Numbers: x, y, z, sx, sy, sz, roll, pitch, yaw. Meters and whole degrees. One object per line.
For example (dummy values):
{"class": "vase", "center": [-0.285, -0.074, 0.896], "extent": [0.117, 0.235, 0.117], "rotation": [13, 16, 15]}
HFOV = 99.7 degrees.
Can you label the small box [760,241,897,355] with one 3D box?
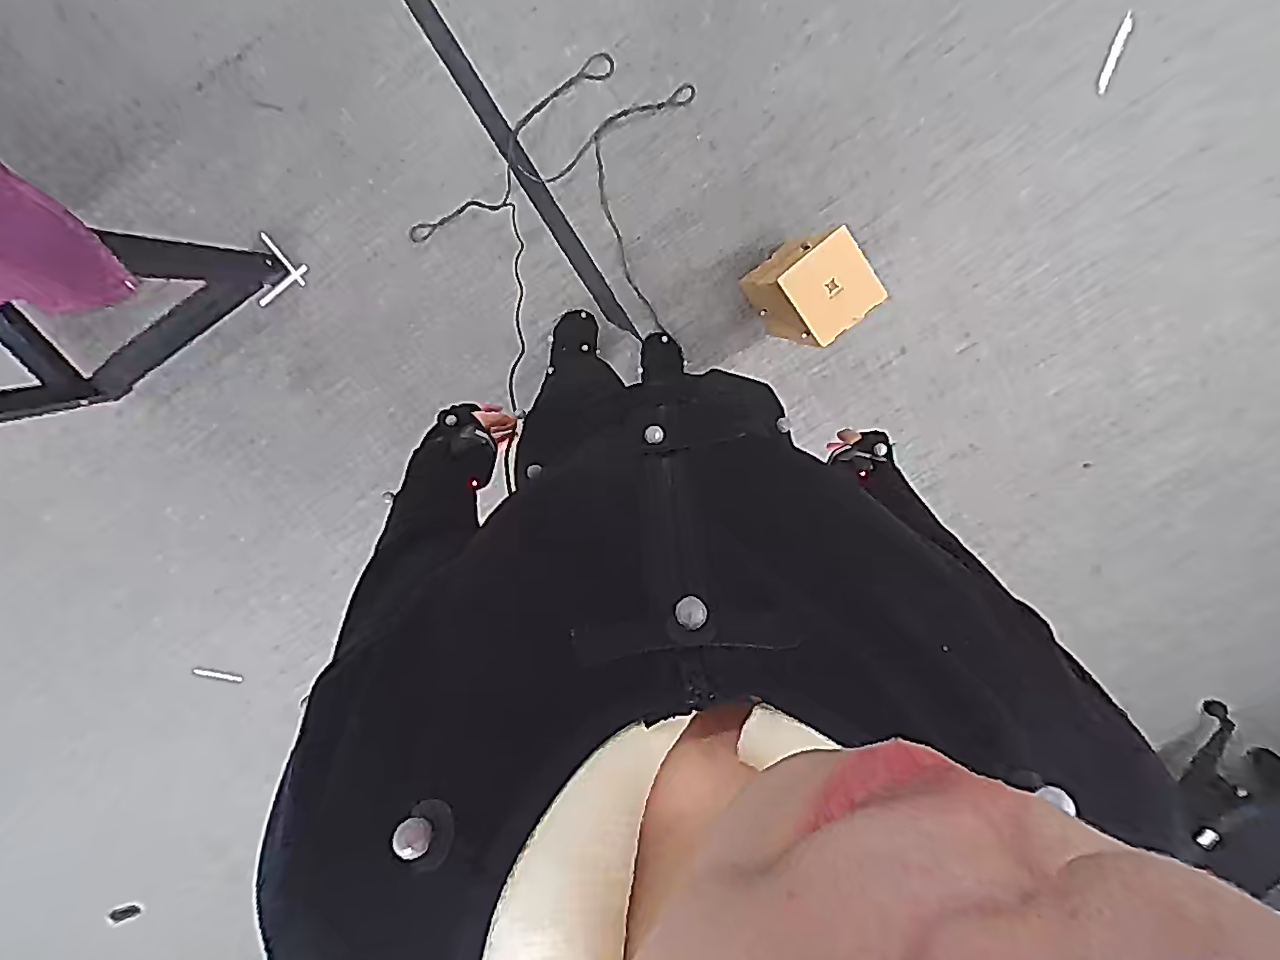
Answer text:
{"class": "small box", "center": [0.393, -0.377, 1.128], "extent": [0.179, 0.176, 0.168], "rotation": [-49, 124, -6]}
